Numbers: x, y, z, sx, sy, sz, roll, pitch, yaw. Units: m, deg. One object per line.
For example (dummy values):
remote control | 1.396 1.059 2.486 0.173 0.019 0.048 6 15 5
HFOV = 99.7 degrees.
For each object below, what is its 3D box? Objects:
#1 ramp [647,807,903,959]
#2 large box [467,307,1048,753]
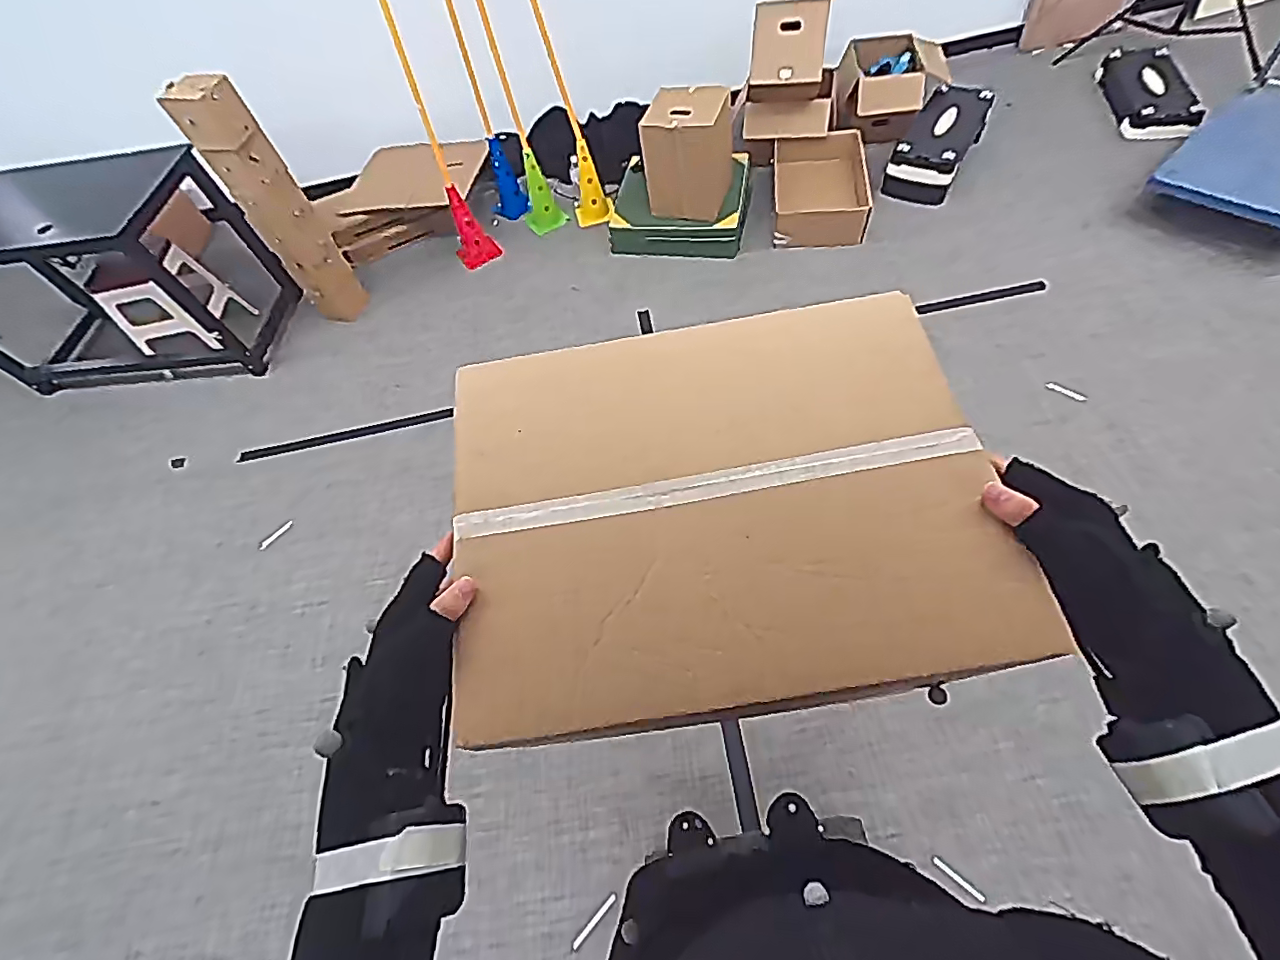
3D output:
ramp | 0.340 1.229 1.033 0.509 0.206 0.991 -12 58 0
large box | 0.074 0.075 0.562 0.408 0.320 0.320 -10 64 2
